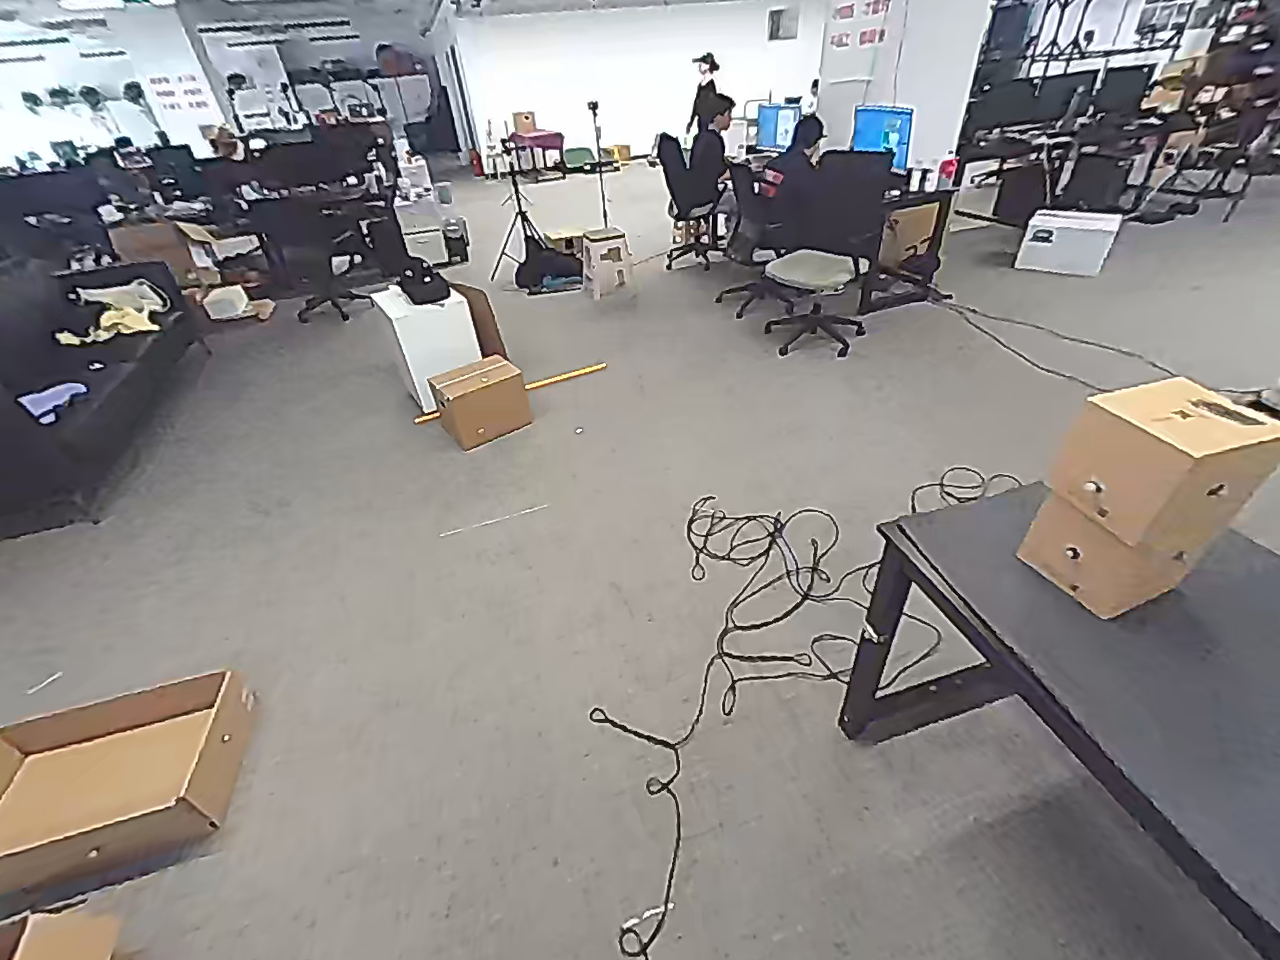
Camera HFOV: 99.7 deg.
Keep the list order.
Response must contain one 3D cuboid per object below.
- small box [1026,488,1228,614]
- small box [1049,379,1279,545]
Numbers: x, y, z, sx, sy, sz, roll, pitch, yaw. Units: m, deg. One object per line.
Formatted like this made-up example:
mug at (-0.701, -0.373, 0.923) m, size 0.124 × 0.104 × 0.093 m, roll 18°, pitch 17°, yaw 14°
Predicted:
small box at (0.798, 0.098, 0.913) m, size 0.179 × 0.176 × 0.168 m, roll -16°, pitch 40°, yaw -15°
small box at (0.773, -0.028, 0.809) m, size 0.179 × 0.176 × 0.168 m, roll -12°, pitch 38°, yaw -8°
